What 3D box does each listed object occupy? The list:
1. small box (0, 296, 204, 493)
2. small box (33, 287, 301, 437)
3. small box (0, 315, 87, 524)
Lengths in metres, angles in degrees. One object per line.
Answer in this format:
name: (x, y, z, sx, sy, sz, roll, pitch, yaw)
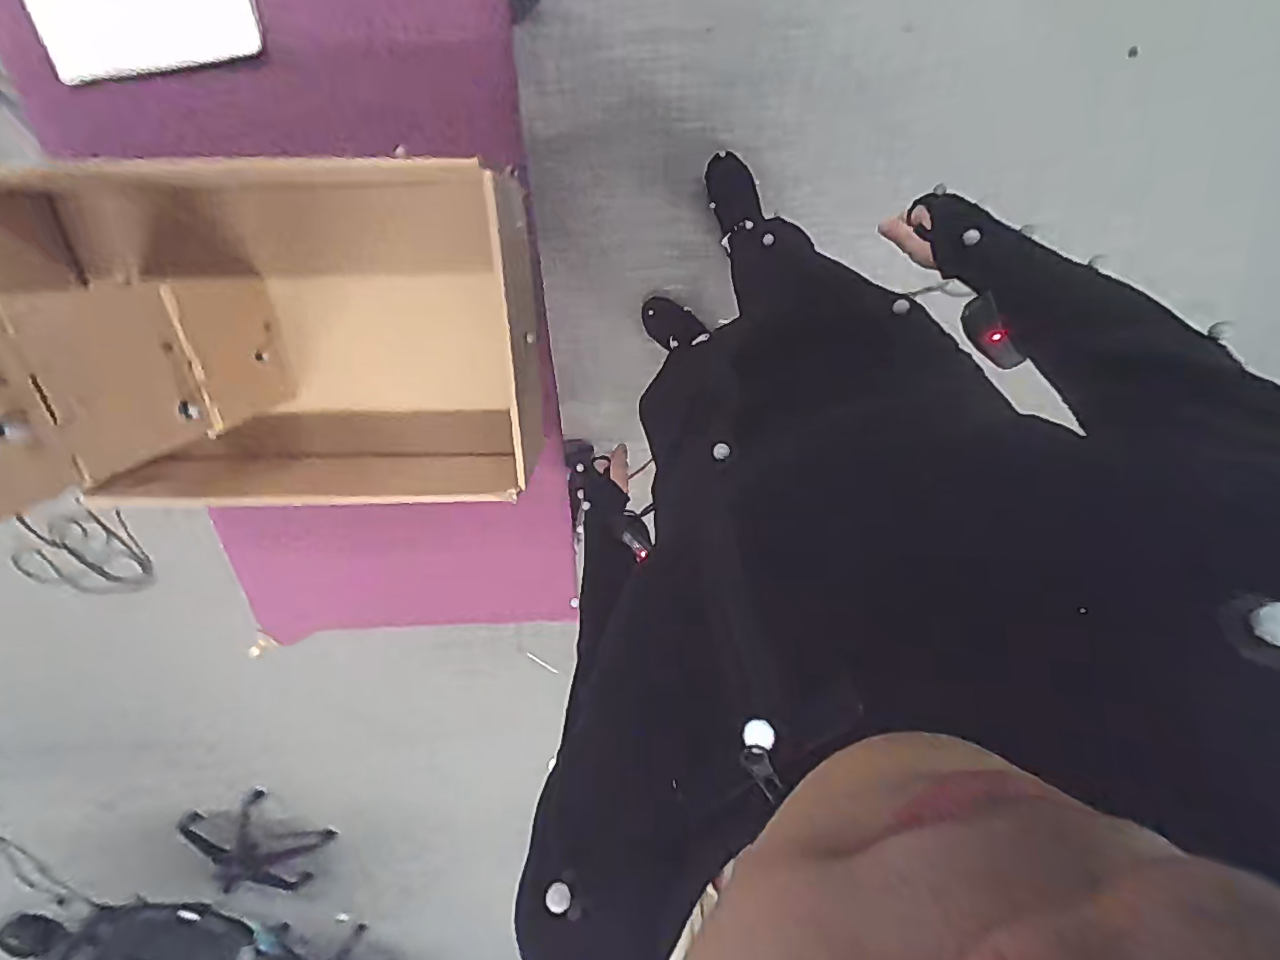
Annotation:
small box: (-0.596, -0.090, 0.548, 0.179, 0.176, 0.168, -4, 113, 2)
small box: (-0.588, -0.155, 0.698, 0.179, 0.176, 0.168, -4, 113, 1)
small box: (-0.595, -0.028, 0.397, 0.179, 0.176, 0.168, -5, 113, 1)
